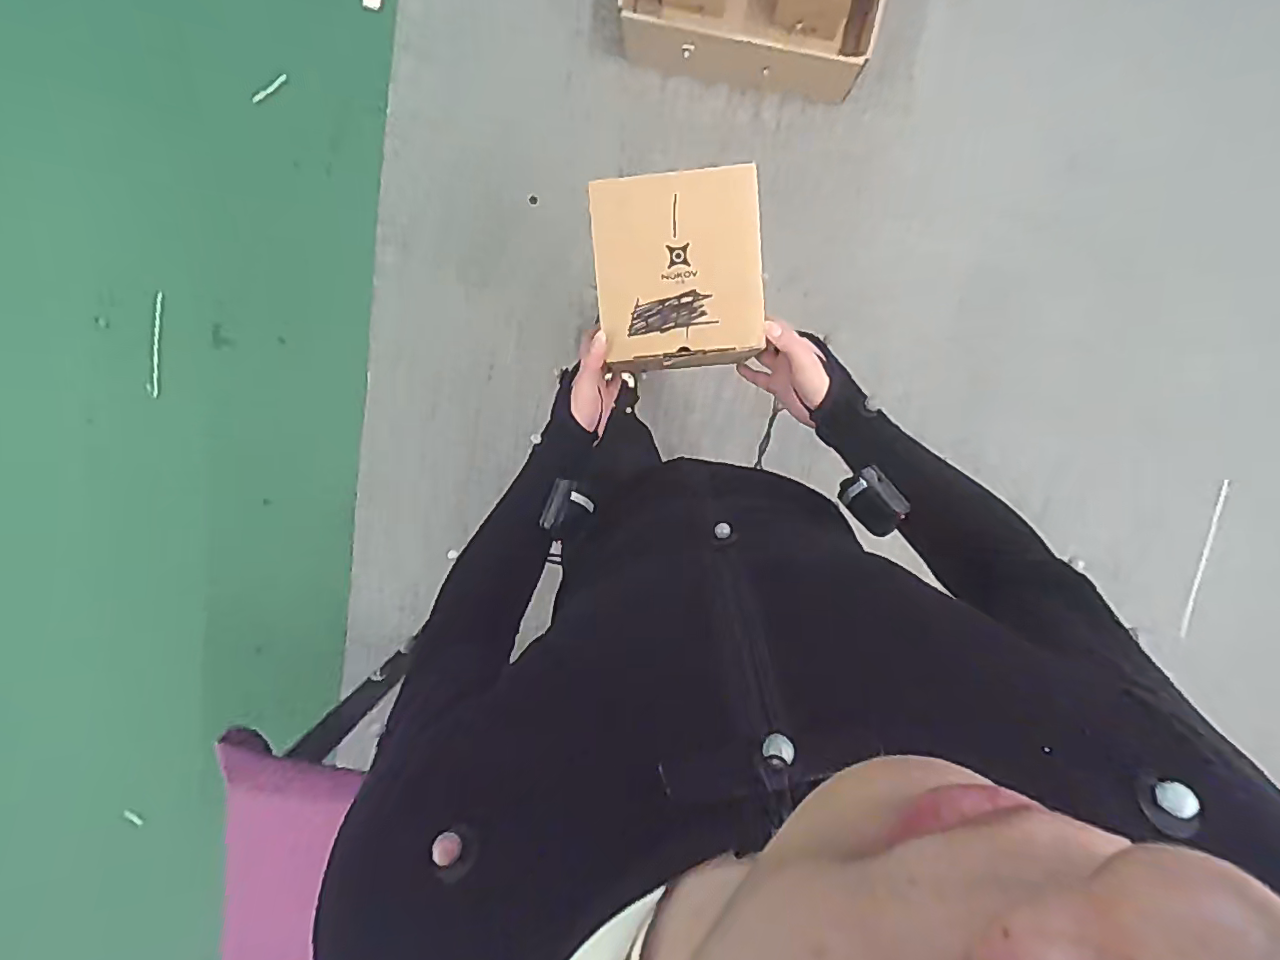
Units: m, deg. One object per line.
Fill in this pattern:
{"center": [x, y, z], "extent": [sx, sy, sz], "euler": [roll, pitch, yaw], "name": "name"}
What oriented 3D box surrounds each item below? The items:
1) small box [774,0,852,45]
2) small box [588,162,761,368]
{"center": [0.433, -1.214, 1.309], "extent": [0.168, 0.176, 0.179], "euler": [13, 98, 3], "name": "small box"}
{"center": [0.040, -0.221, 0.608], "extent": [0.168, 0.176, 0.179], "euler": [-4, 95, 4], "name": "small box"}
